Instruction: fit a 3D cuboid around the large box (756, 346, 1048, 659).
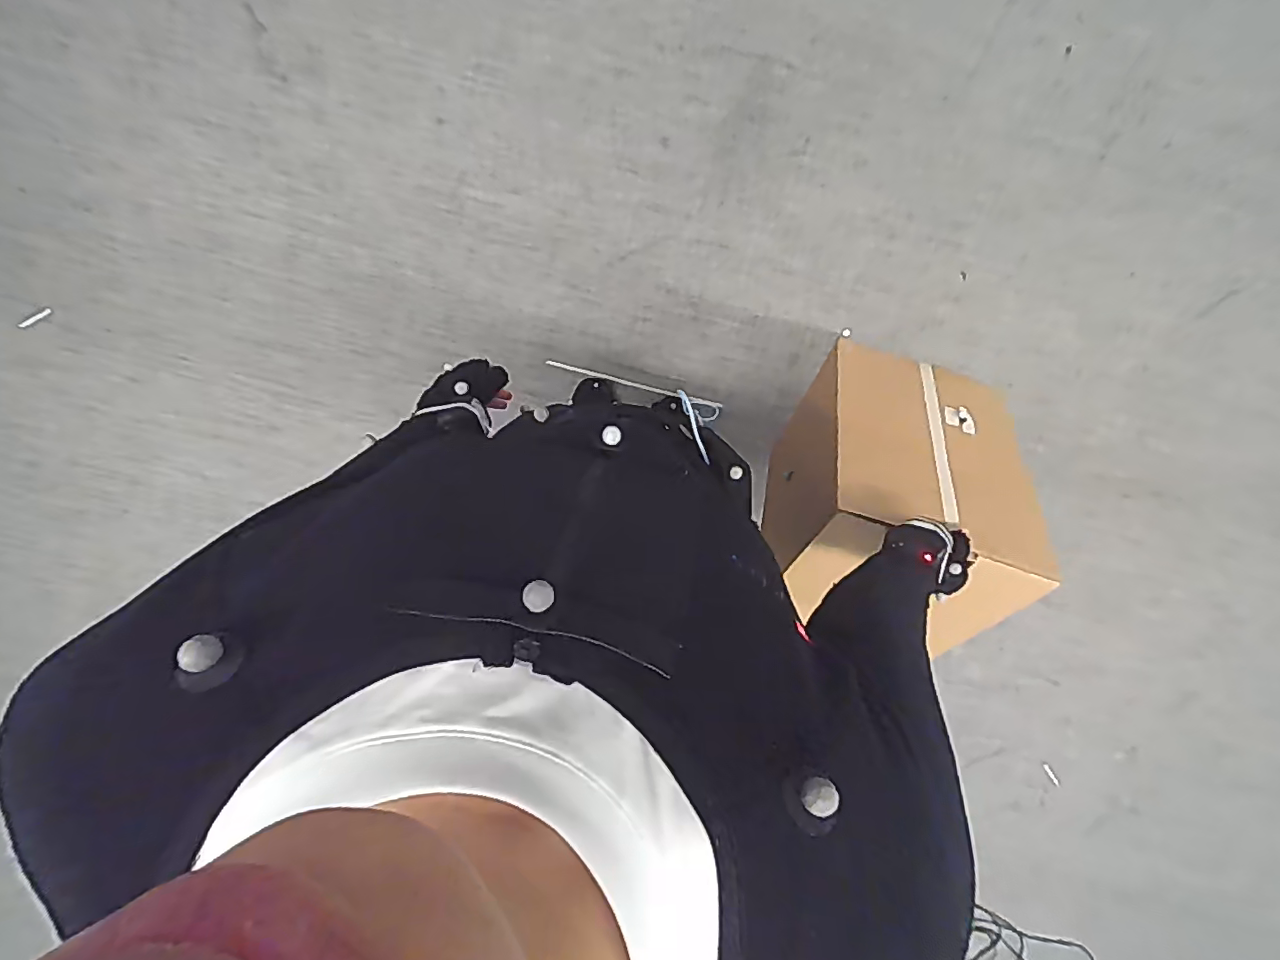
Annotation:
[{"bbox_3d":[0.415,0.039,0.959,0.320,0.408,0.320,19,139,-1],"label":"large box"}]
